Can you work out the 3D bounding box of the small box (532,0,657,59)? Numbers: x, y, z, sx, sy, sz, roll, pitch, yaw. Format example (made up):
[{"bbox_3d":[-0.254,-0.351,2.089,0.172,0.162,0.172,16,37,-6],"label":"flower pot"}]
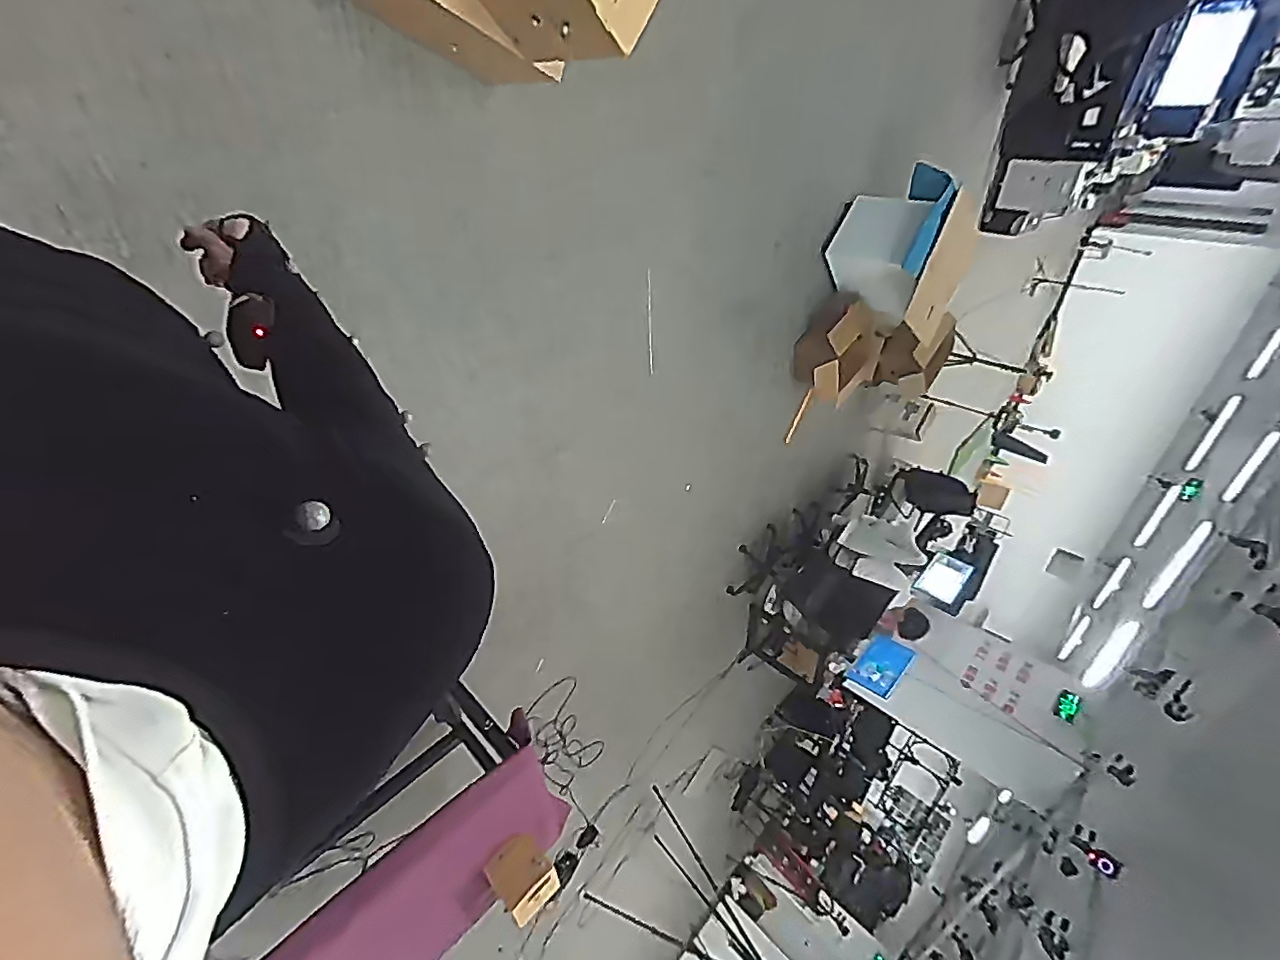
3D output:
[{"bbox_3d":[-0.086,-0.976,1.063,0.168,0.176,0.179,25,95,-54],"label":"small box"}]

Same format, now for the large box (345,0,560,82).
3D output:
[{"bbox_3d":[-0.404,-1.180,1.242,0.408,0.320,0.320,-5,116,-49],"label":"large box"}]

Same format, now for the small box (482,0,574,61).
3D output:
[{"bbox_3d":[-0.207,-1.043,1.156,0.168,0.176,0.179,26,93,-55],"label":"small box"}]
